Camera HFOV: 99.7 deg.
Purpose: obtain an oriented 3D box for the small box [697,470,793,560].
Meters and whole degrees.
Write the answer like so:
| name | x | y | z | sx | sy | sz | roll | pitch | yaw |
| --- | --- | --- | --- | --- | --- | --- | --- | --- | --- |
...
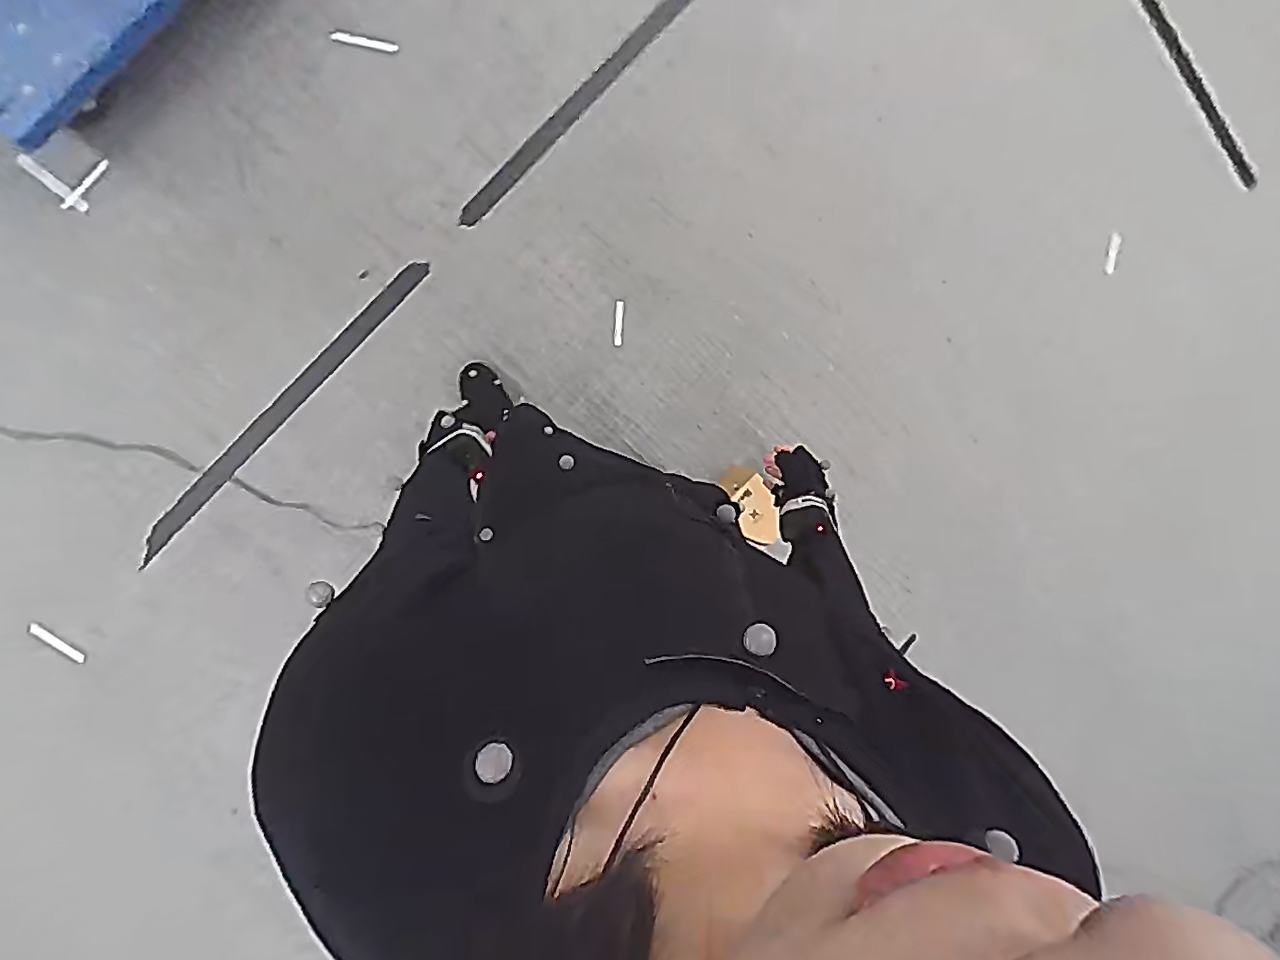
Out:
| name | x | y | z | sx | sy | sz | roll | pitch | yaw |
| --- | --- | --- | --- | --- | --- | --- | --- | --- | --- |
| small box | 0.289 | 0.090 | 1.526 | 0.168 | 0.176 | 0.179 | -43 | 103 | -2 |
